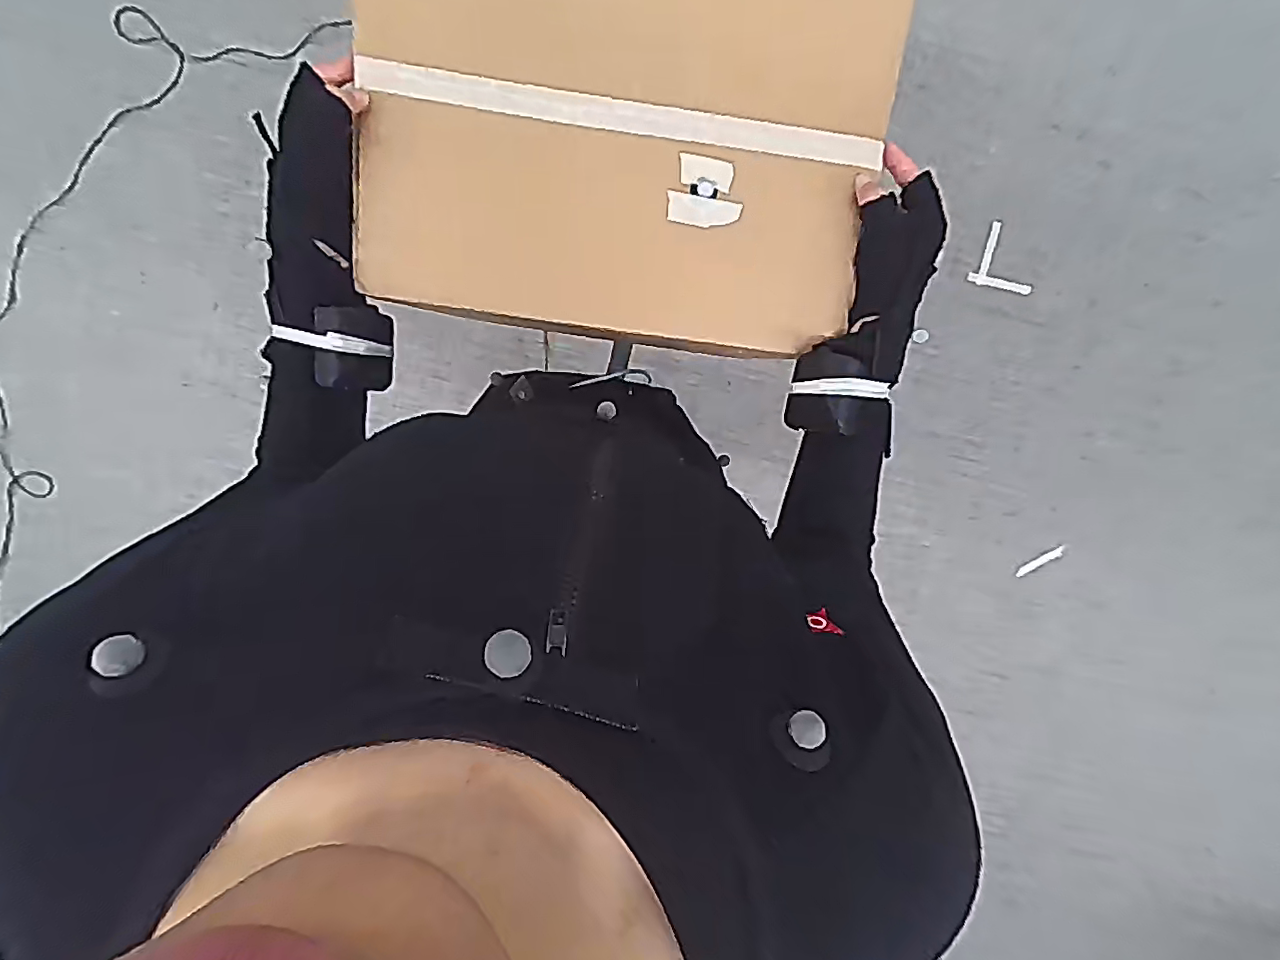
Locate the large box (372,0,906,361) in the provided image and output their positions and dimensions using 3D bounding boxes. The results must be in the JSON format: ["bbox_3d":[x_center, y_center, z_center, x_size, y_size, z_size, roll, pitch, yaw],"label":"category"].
[{"bbox_3d":[-0.015,-0.306,0.571,0.408,0.320,0.320,7,104,-5],"label":"large box"}]
